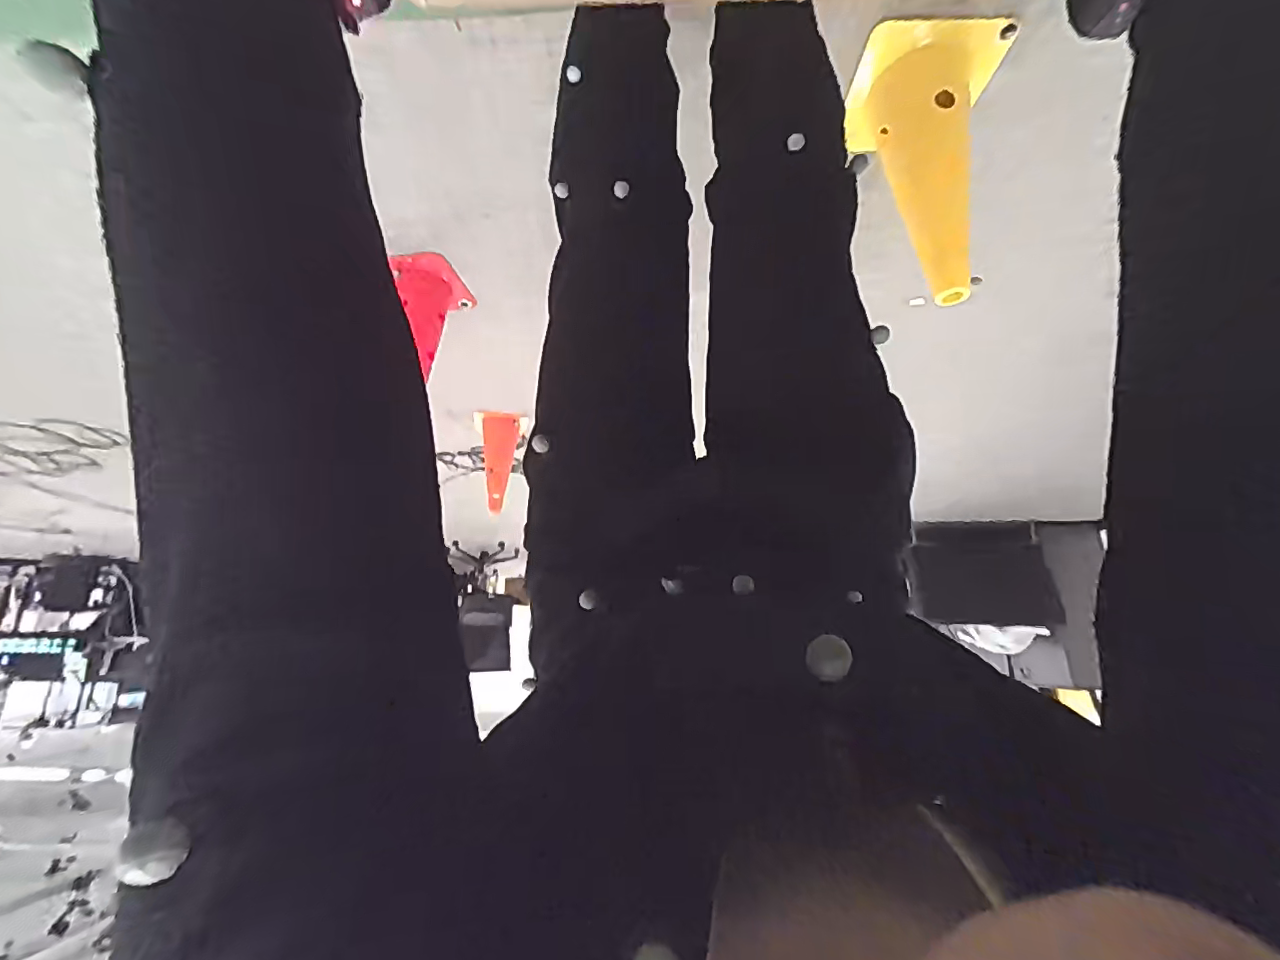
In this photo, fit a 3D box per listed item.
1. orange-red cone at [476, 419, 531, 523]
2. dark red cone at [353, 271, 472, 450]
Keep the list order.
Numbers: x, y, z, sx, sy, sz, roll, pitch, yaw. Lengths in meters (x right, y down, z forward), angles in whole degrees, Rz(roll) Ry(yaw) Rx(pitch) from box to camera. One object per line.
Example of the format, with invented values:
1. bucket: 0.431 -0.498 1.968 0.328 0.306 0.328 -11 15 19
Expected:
1. orange-red cone: -0.519 -0.019 1.977 0.199 0.360 0.198 7 160 -15
2. dark red cone: -0.513 -0.250 1.174 0.202 0.394 0.201 -3 159 11
